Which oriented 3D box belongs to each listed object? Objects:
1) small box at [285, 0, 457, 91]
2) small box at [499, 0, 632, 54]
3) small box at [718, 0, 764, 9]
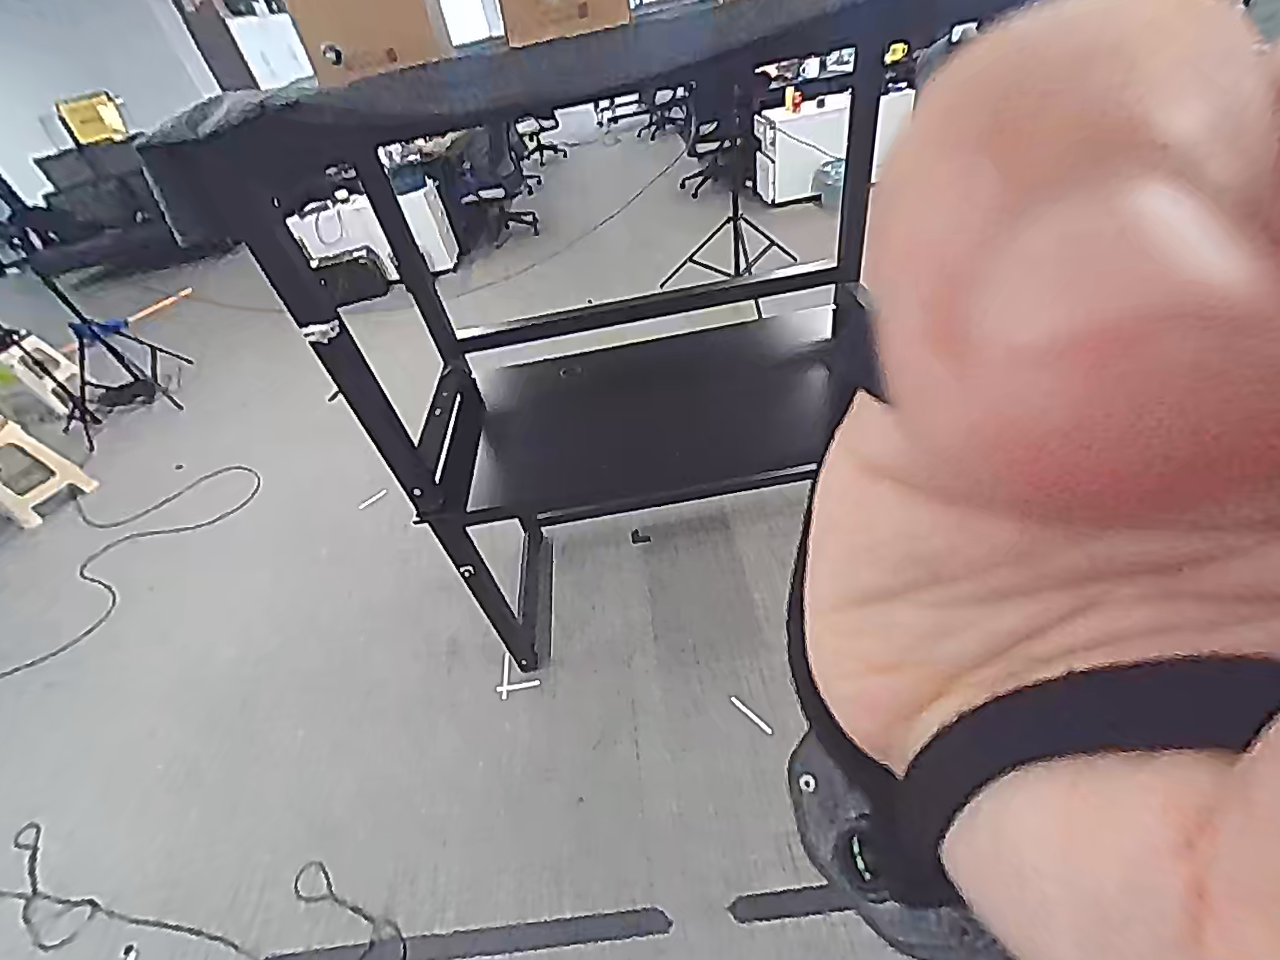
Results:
[{"bbox_3d":[-0.360,-0.639,0.724,0.168,0.176,0.179,-11,40,-1],"label":"small box"},{"bbox_3d":[-0.109,-0.690,0.723,0.168,0.176,0.179,-11,41,2],"label":"small box"},{"bbox_3d":[0.183,-0.748,0.714,0.168,0.176,0.179,-5,42,8],"label":"small box"}]
